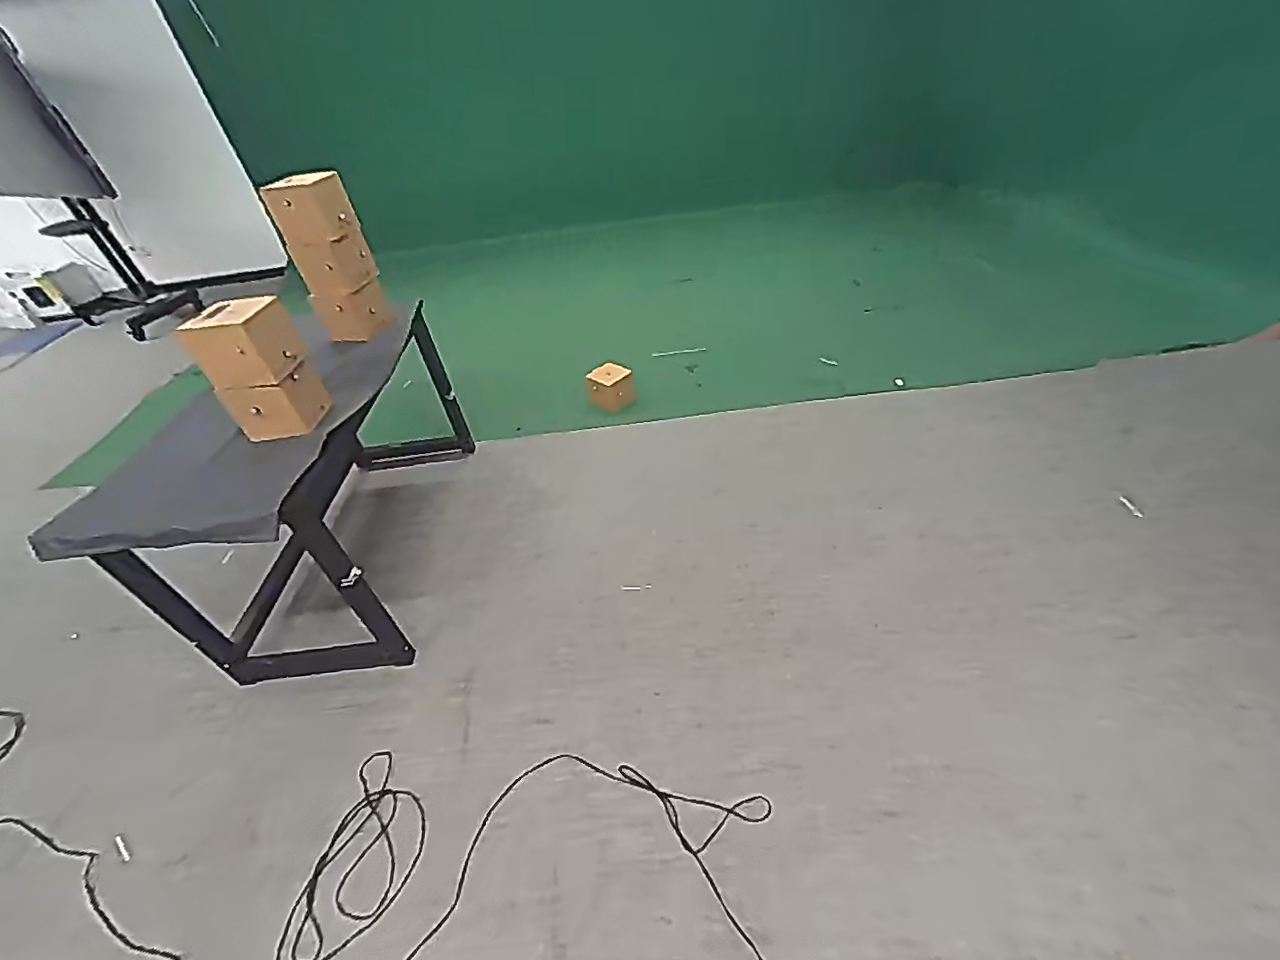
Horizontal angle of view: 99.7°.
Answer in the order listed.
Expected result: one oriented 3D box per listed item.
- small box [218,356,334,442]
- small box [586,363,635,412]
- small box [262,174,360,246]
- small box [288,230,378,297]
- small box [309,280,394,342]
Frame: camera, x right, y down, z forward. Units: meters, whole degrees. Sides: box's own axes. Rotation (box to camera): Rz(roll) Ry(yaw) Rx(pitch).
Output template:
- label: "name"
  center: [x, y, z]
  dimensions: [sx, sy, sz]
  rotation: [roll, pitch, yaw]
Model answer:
- label: "small box"
  center: [-1.001, -0.220, 1.504]
  dimensions: [0.179, 0.176, 0.168]
  rotation: [-8, 41, 3]
- label: "small box"
  center: [-0.144, -0.464, 2.744]
  dimensions: [0.179, 0.176, 0.168]
  rotation: [28, 53, 35]
- label: "small box"
  center: [-1.055, -0.868, 1.747]
  dimensions: [0.179, 0.176, 0.168]
  rotation: [-2, 41, 10]
- label: "small box"
  center: [-1.038, -0.739, 1.849]
  dimensions: [0.179, 0.176, 0.168]
  rotation: [1, 41, 15]
- label: "small box"
  center: [-1.026, -0.605, 1.941]
  dimensions: [0.179, 0.176, 0.168]
  rotation: [5, 43, 19]
